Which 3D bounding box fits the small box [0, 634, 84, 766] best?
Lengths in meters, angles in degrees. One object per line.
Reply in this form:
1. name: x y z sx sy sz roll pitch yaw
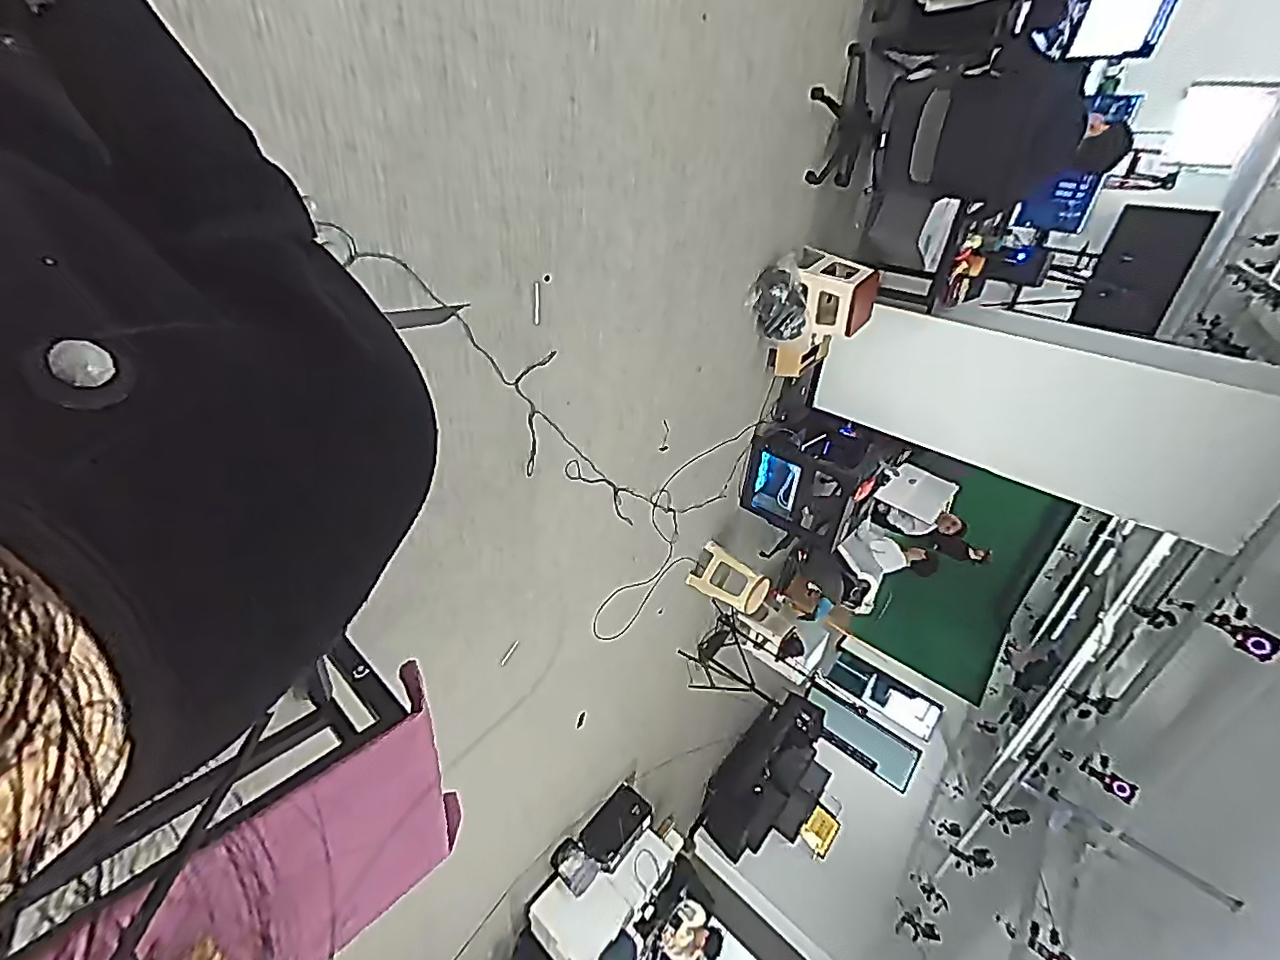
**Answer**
1. small box: -1.314 0.458 1.123 0.168 0.176 0.179 -28 133 -43
